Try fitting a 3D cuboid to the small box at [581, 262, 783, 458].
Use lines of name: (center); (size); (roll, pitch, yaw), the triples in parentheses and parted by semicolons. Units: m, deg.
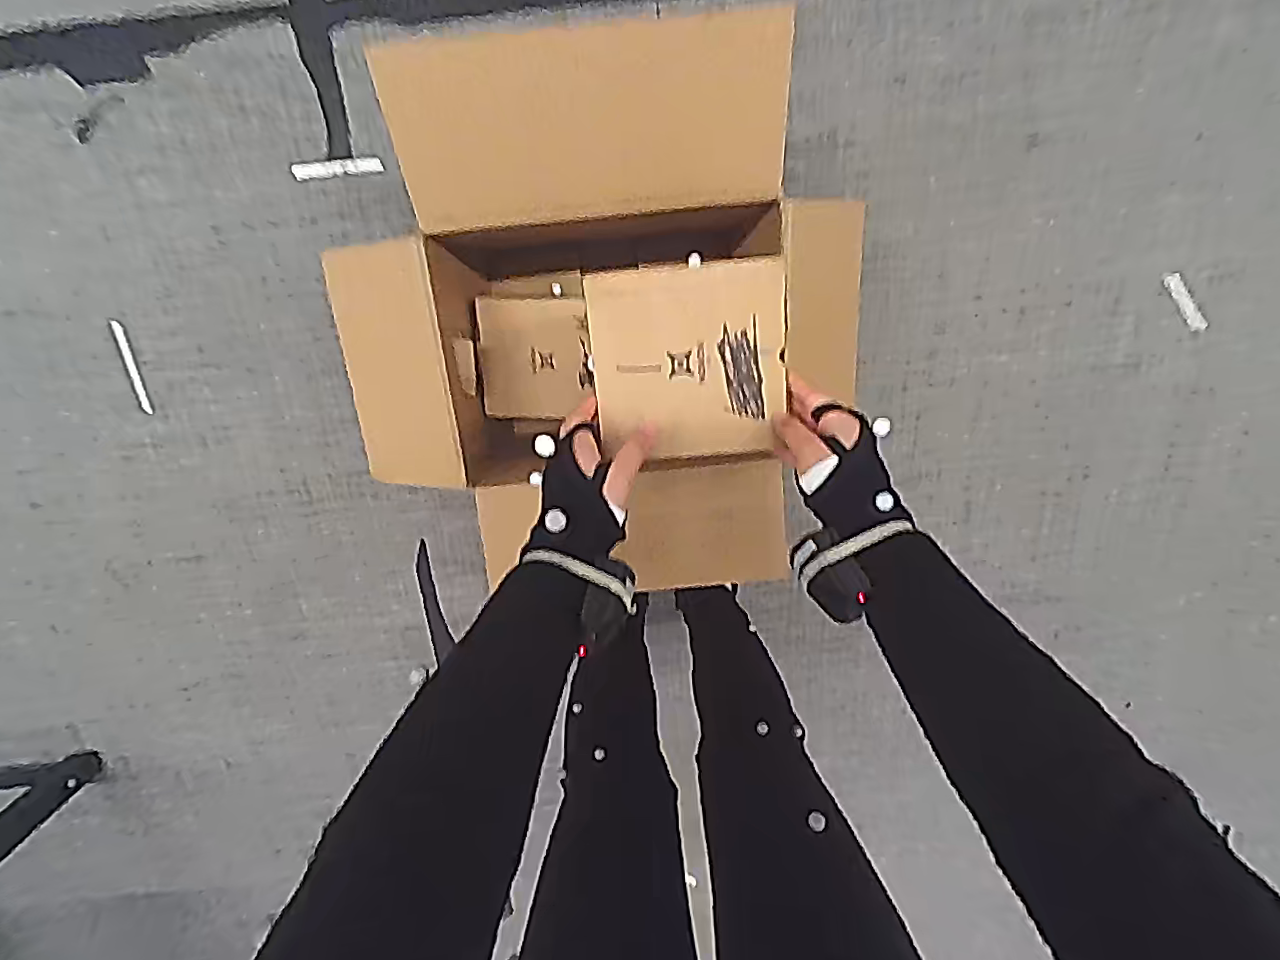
small box: (0.043, -0.125, 0.564); (0.179, 0.176, 0.168); (-4, 105, 4)
